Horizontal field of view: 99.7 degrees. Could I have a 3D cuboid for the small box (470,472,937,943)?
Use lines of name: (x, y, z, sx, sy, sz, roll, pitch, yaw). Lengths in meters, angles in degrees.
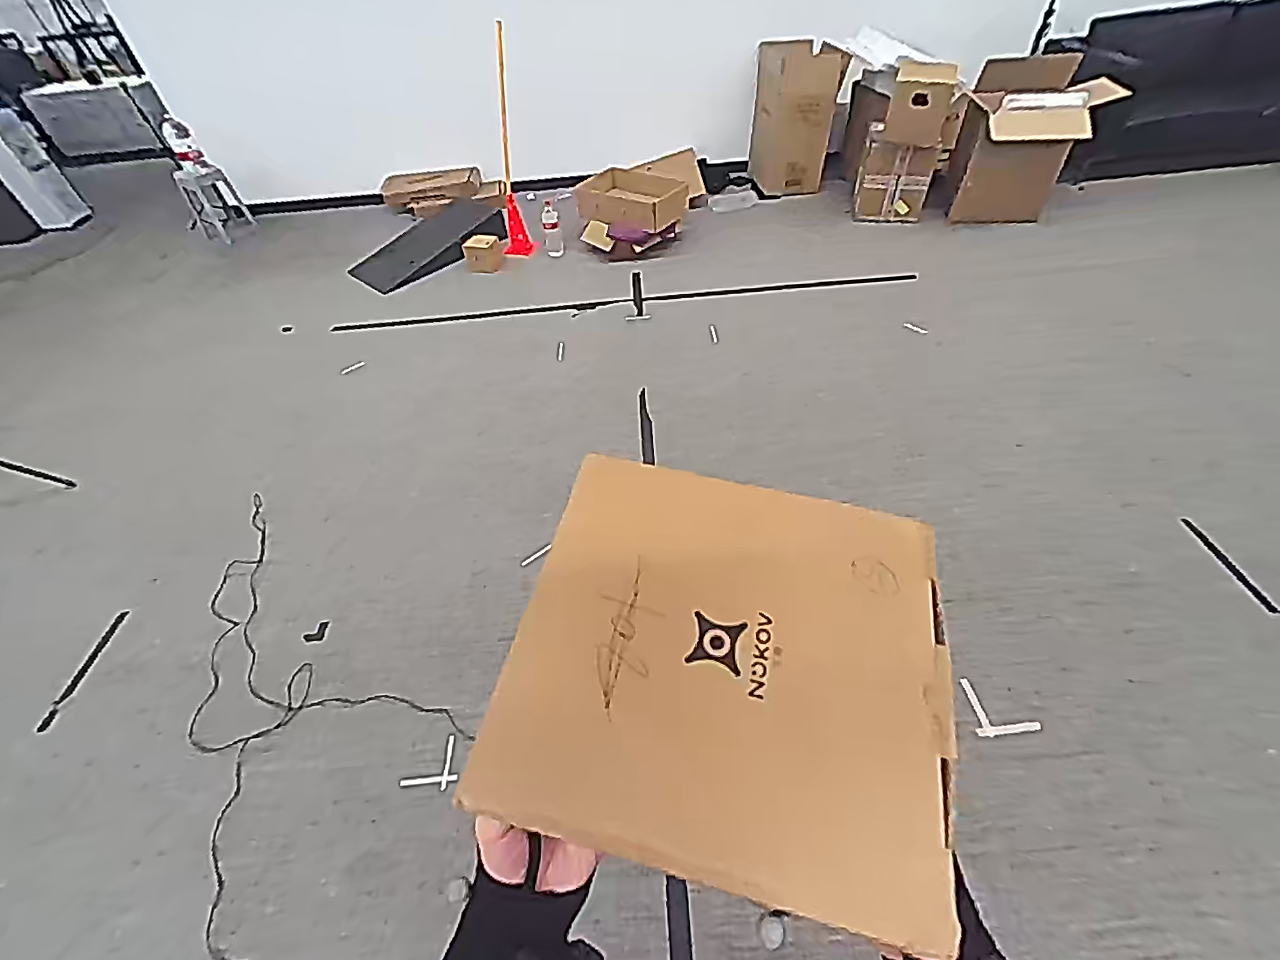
small box: (0.037, 0.122, 0.305, 0.179, 0.176, 0.168, 11, 56, 8)
